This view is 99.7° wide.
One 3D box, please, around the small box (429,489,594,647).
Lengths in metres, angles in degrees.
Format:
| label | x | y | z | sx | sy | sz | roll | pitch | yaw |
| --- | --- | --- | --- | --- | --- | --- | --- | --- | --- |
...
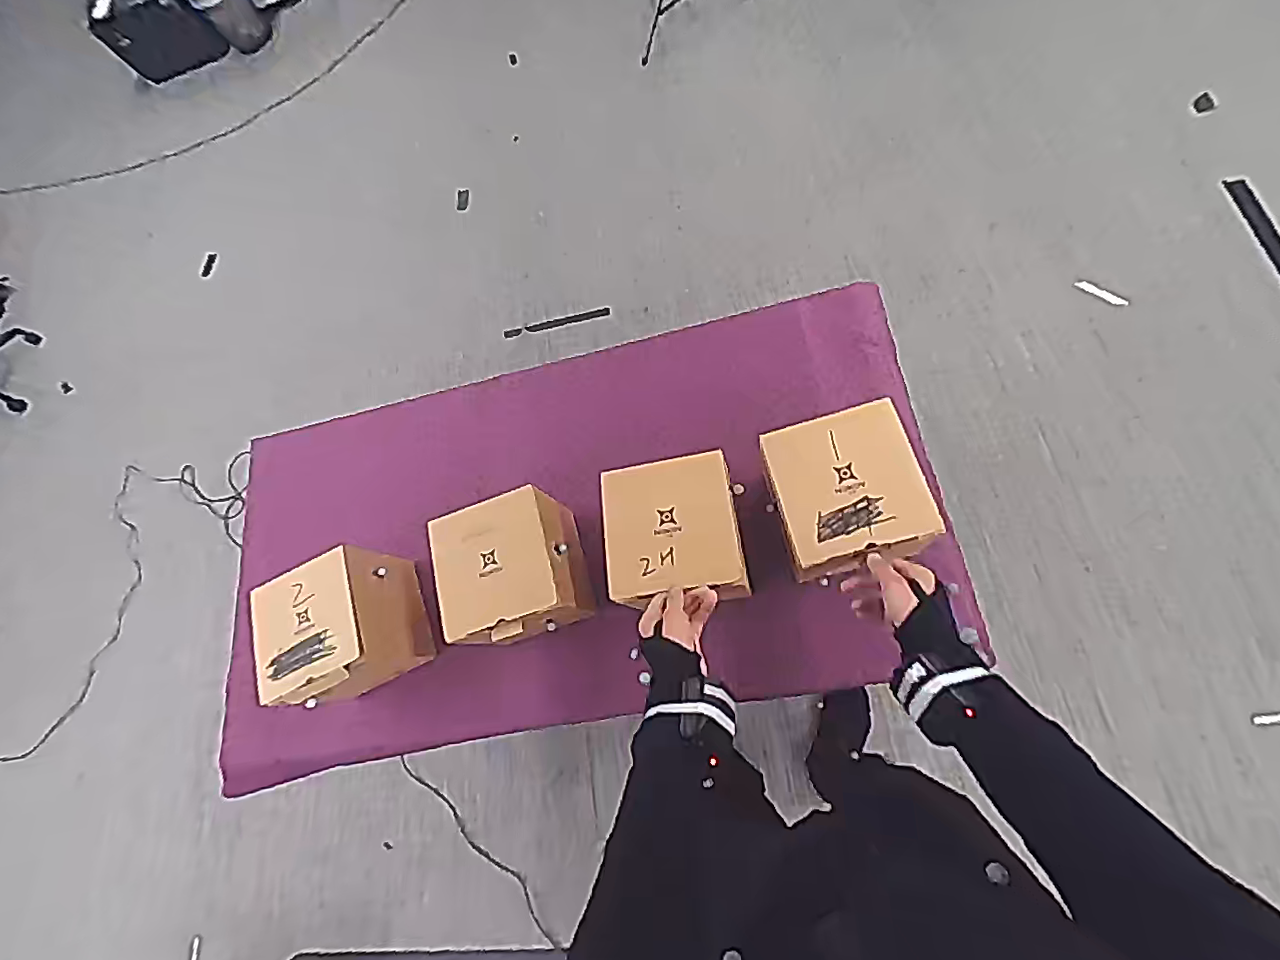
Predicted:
| label | x | y | z | sx | sy | sz | roll | pitch | yaw |
| --- | --- | --- | --- | --- | --- | --- | --- | --- | --- |
| small box | -0.182 | 0.137 | 0.800 | 0.168 | 0.176 | 0.179 | -20 | 69 | 7 |

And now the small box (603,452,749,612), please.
| label | x | y | z | sx | sy | sz | roll | pitch | yaw |
| --- | --- | --- | --- | --- | --- | --- | --- | --- | --- |
| small box | 0.055 | 0.082 | 0.755 | 0.168 | 0.176 | 0.179 | -11 | 71 | 11 |

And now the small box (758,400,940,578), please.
| label | x | y | z | sx | sy | sz | roll | pitch | yaw |
| --- | --- | --- | --- | --- | --- | --- | --- | --- | --- |
| small box | 0.264 | 0.025 | 0.718 | 0.168 | 0.176 | 0.179 | -16 | 69 | 9 |
